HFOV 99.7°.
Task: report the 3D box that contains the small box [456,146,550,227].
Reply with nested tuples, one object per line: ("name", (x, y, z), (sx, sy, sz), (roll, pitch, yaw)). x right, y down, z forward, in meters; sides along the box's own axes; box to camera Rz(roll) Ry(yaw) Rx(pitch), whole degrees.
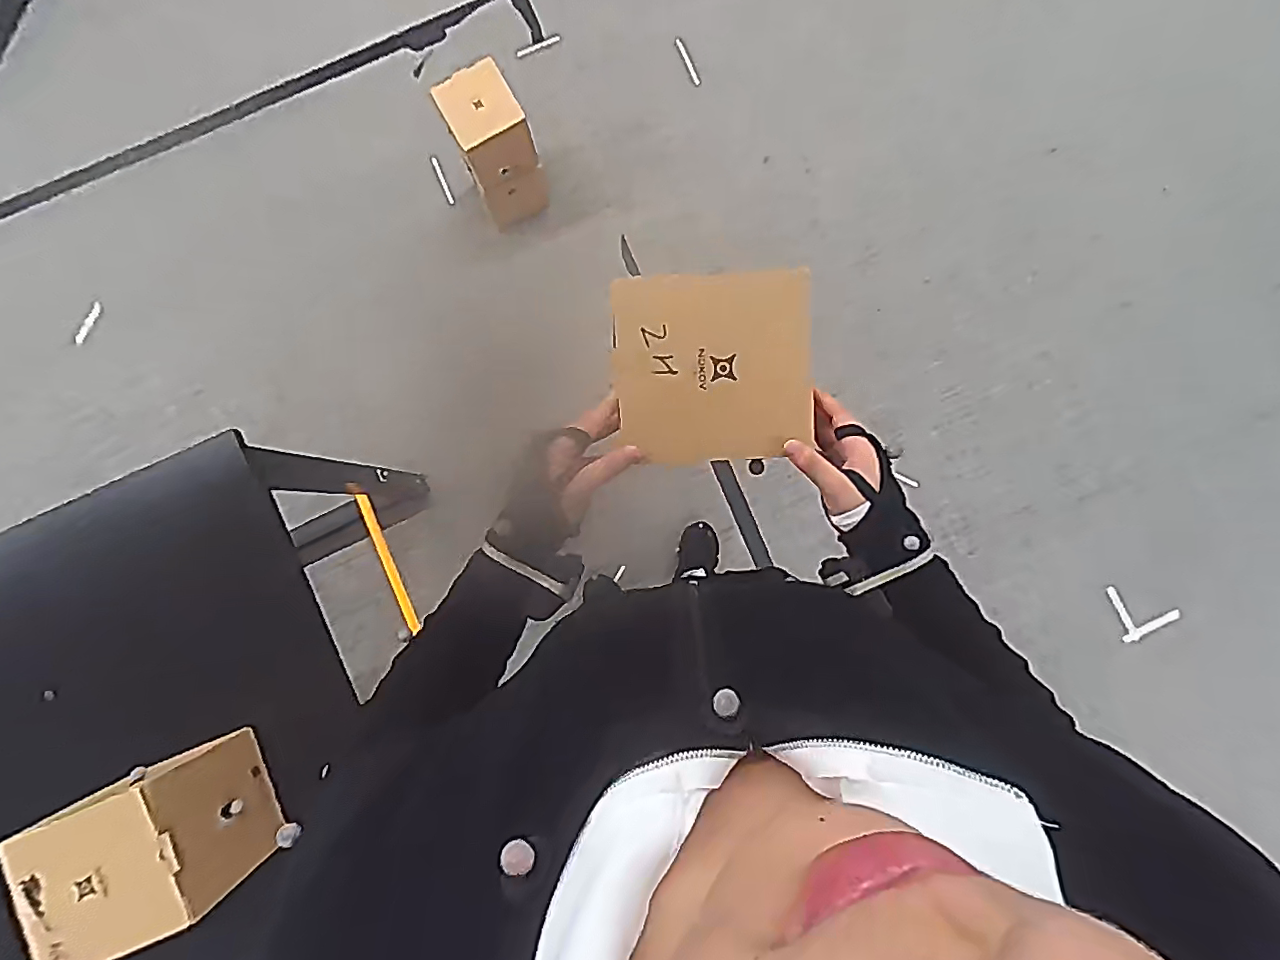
("small box", (-0.368, -0.835, 1.485), (0.179, 0.176, 0.168), (-27, 87, -2))

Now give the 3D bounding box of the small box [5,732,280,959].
("small box", (-0.593, 0.449, 0.676), (0.179, 0.176, 0.168), (-23, 87, -1))

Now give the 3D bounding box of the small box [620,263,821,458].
("small box", (0.074, -0.111, 0.555), (0.179, 0.176, 0.168), (-3, 95, 3))

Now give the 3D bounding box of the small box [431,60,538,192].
("small box", (-0.373, -0.856, 1.323), (0.168, 0.176, 0.179), (-31, 88, -1))
